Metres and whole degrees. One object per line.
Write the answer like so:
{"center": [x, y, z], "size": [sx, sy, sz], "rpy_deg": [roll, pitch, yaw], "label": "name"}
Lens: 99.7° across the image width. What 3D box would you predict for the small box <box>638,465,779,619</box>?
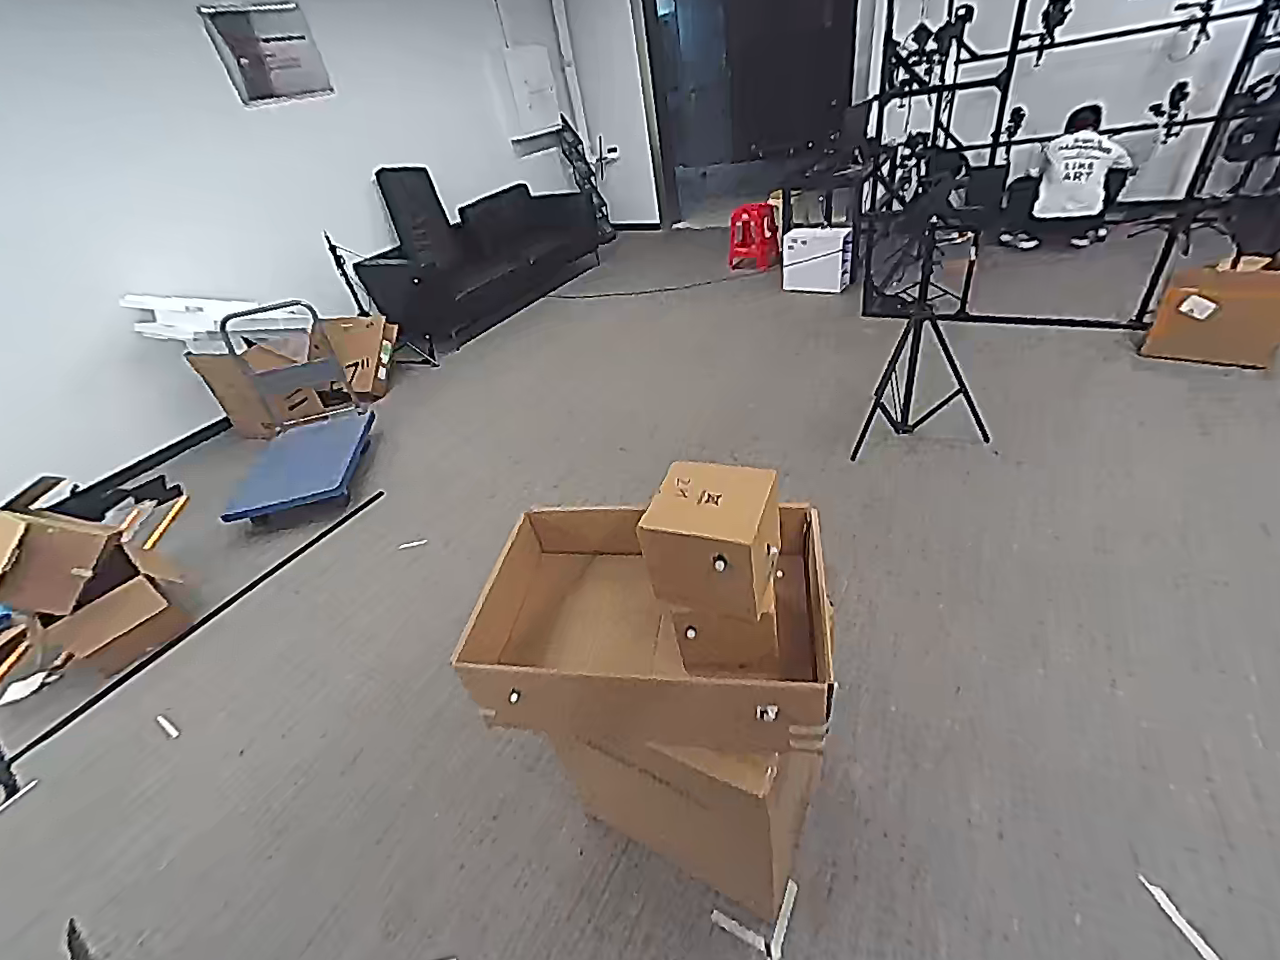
{"center": [0.120, 0.098, 0.864], "size": [0.179, 0.176, 0.168], "rpy_deg": [6, 40, 25], "label": "small box"}
